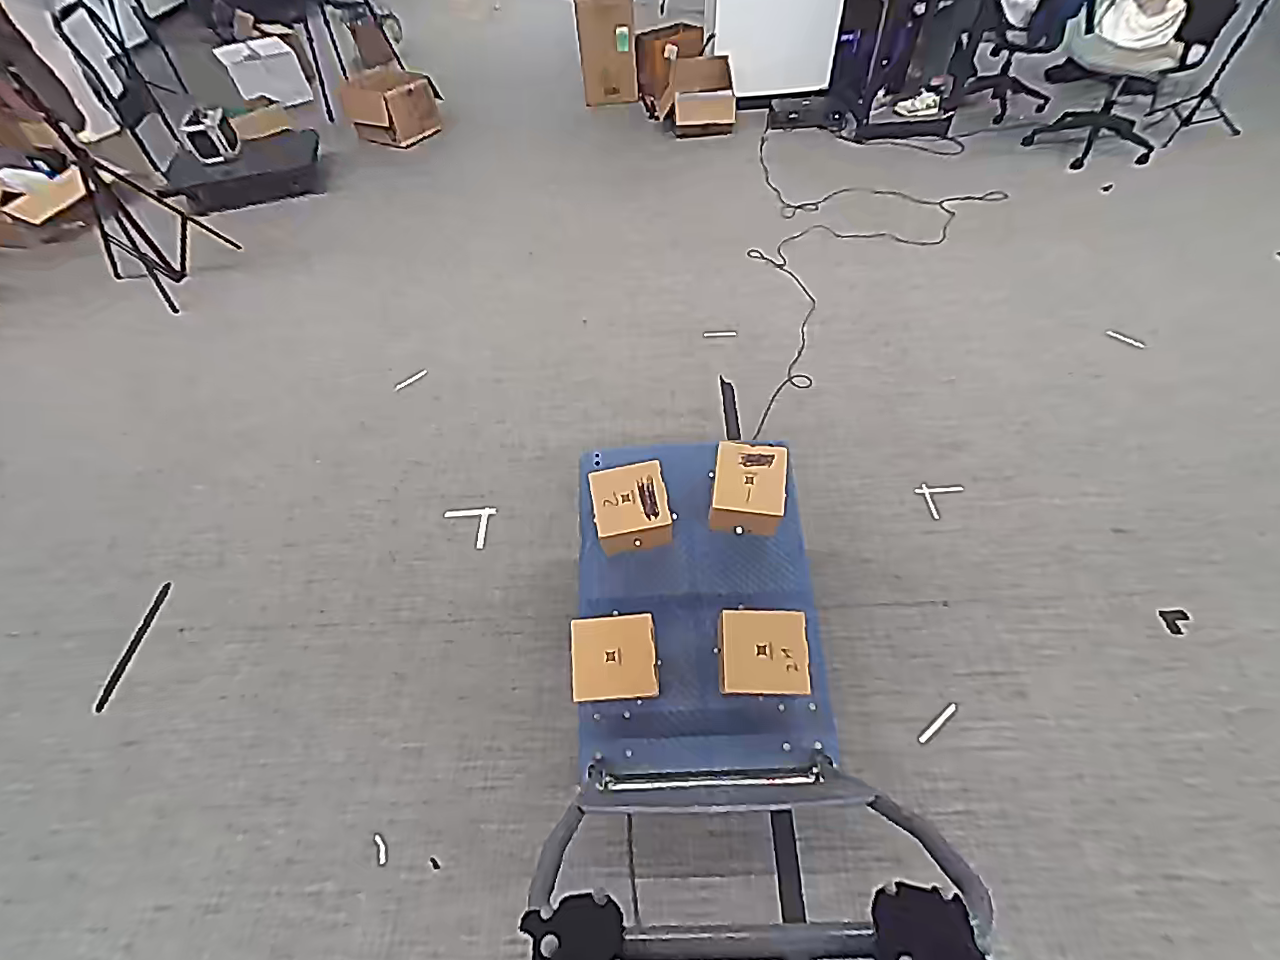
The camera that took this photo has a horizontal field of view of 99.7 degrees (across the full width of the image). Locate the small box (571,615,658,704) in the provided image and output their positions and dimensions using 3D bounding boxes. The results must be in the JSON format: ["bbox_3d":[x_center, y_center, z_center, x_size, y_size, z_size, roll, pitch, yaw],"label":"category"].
[{"bbox_3d":[-0.053,0.403,1.203,0.179,0.176,0.168,-5,67,0],"label":"small box"}]

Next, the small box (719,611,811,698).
[{"bbox_3d":[0.264,0.387,1.190,0.179,0.176,0.168,0,68,4],"label":"small box"}]

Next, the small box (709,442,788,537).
[{"bbox_3d":[0.264,0.027,1.342,0.168,0.176,0.179,7,69,6],"label":"small box"}]
